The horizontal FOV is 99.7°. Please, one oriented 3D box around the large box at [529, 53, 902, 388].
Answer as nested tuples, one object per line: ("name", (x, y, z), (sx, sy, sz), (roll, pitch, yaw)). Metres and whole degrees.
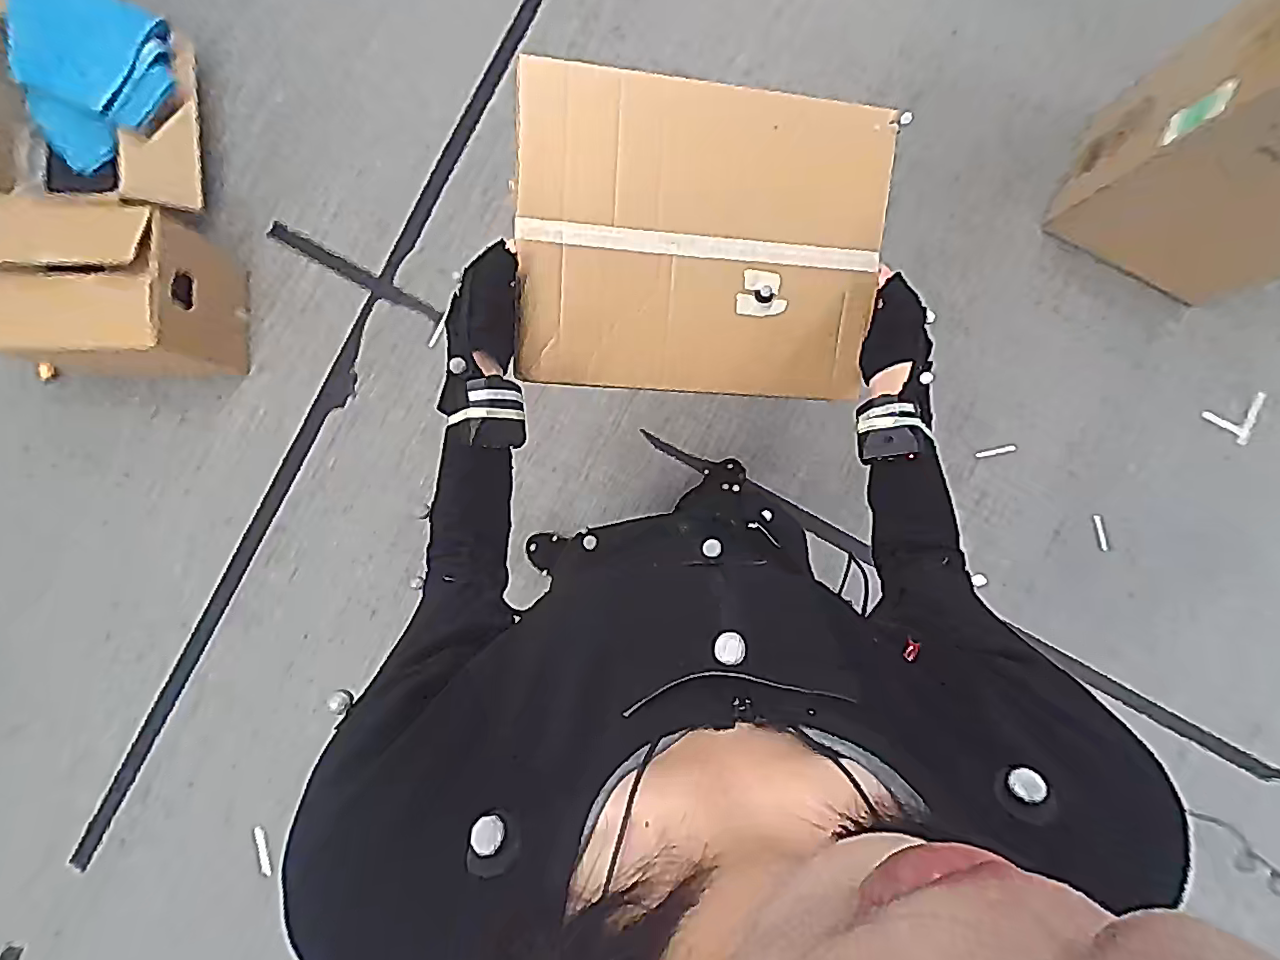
("large box", (0.059, -0.294, 0.728), (0.408, 0.320, 0.320), (2, 103, -9))
